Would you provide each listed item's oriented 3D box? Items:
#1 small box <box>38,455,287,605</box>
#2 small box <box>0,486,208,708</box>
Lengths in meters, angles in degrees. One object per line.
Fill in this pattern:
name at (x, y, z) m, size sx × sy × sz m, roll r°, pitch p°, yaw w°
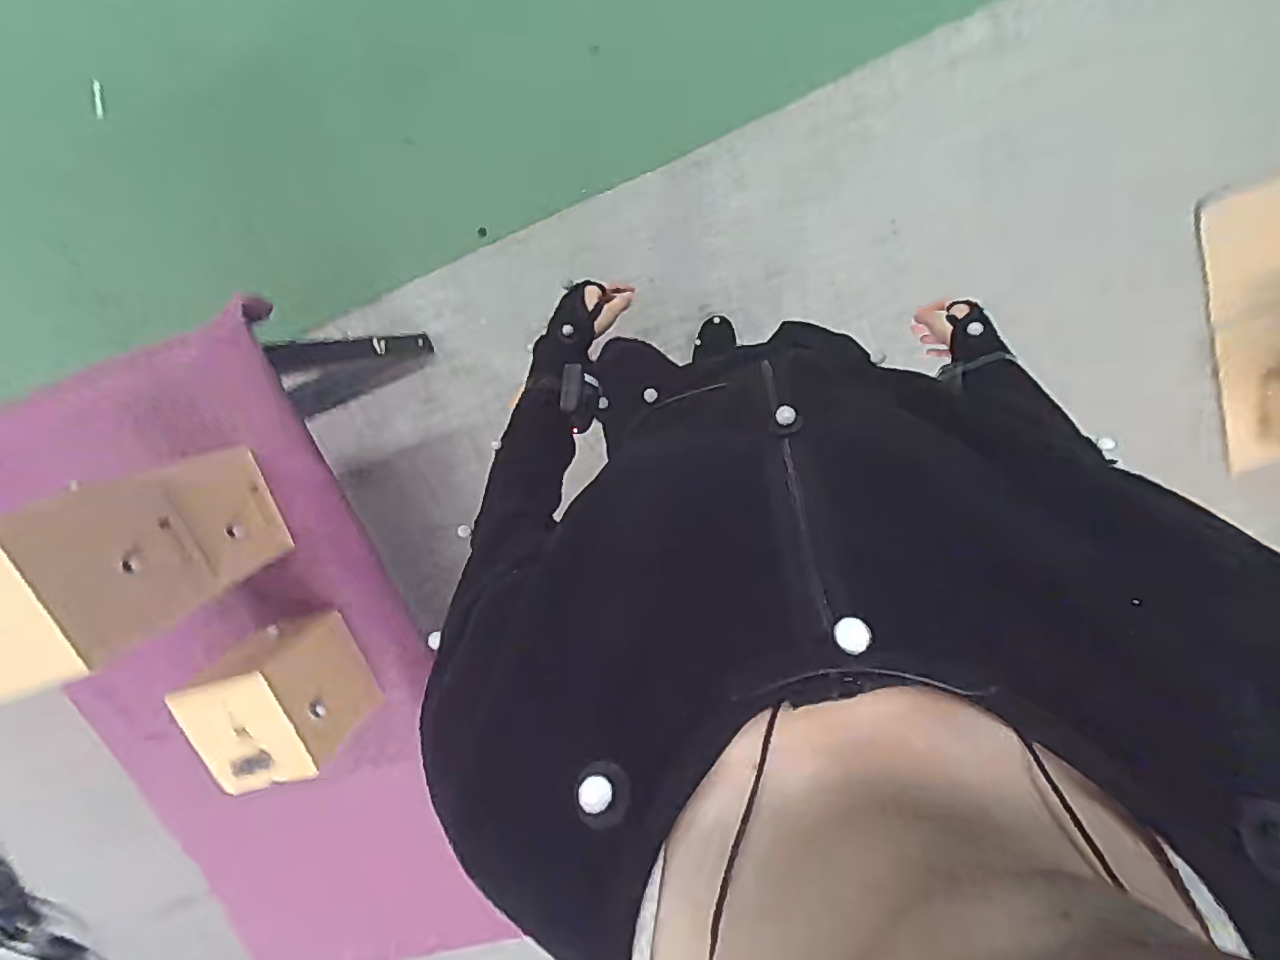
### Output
small box at (-0.637, 0.076, 0.752) m, size 0.179 × 0.176 × 0.168 m, roll -14°, pitch 106°, yaw 8°
small box at (-0.631, 0.121, 0.593) m, size 0.179 × 0.176 × 0.168 m, roll -17°, pitch 105°, yaw 9°
